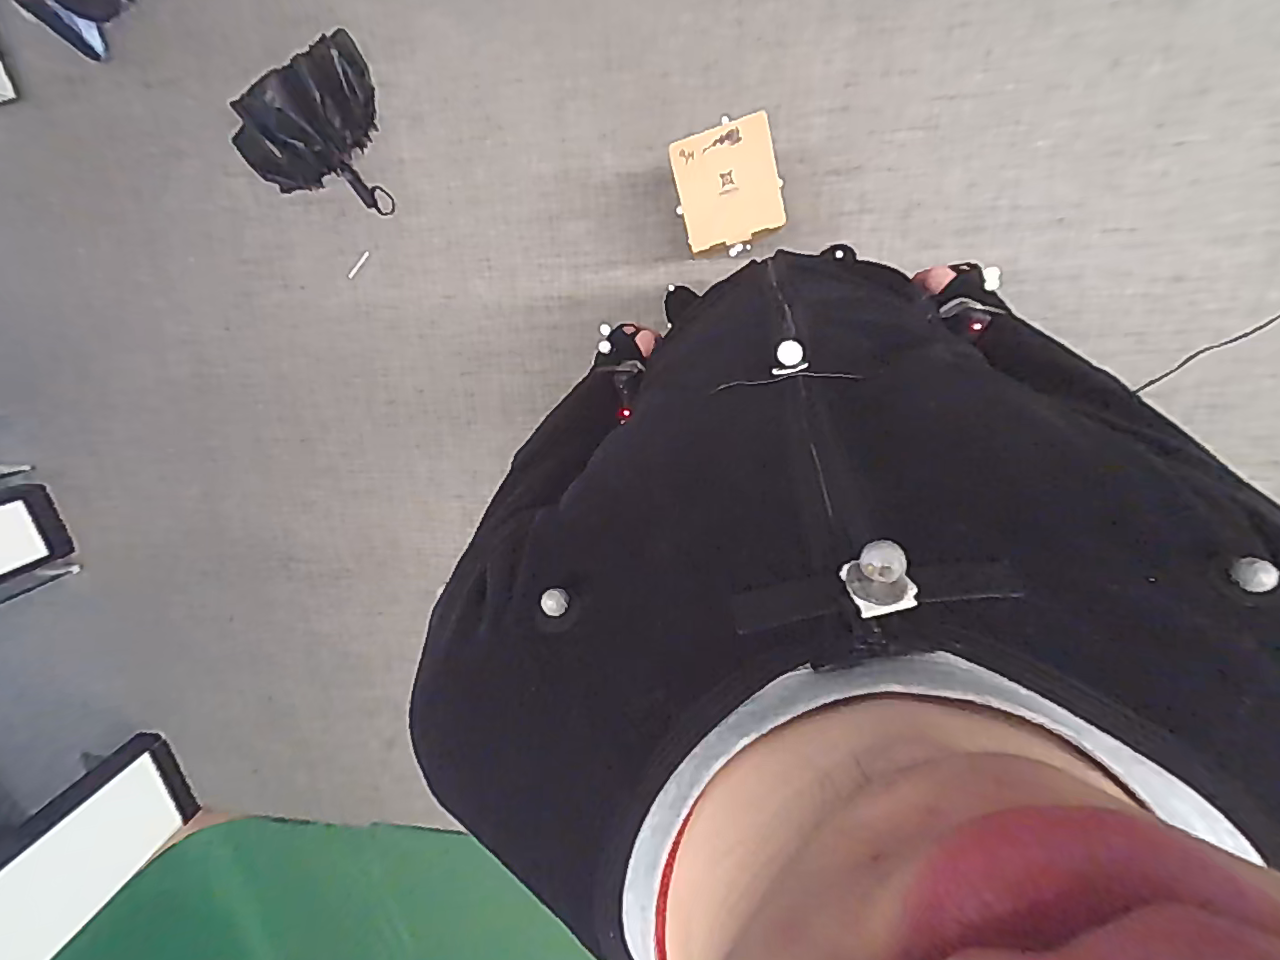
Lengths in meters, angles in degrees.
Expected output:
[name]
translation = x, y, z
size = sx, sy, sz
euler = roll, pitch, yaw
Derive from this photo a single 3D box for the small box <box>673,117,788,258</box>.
[small box]
translation = 0.167, -0.515, 0.976
size = 0.168, 0.176, 0.179
euler = -12, 110, 15
